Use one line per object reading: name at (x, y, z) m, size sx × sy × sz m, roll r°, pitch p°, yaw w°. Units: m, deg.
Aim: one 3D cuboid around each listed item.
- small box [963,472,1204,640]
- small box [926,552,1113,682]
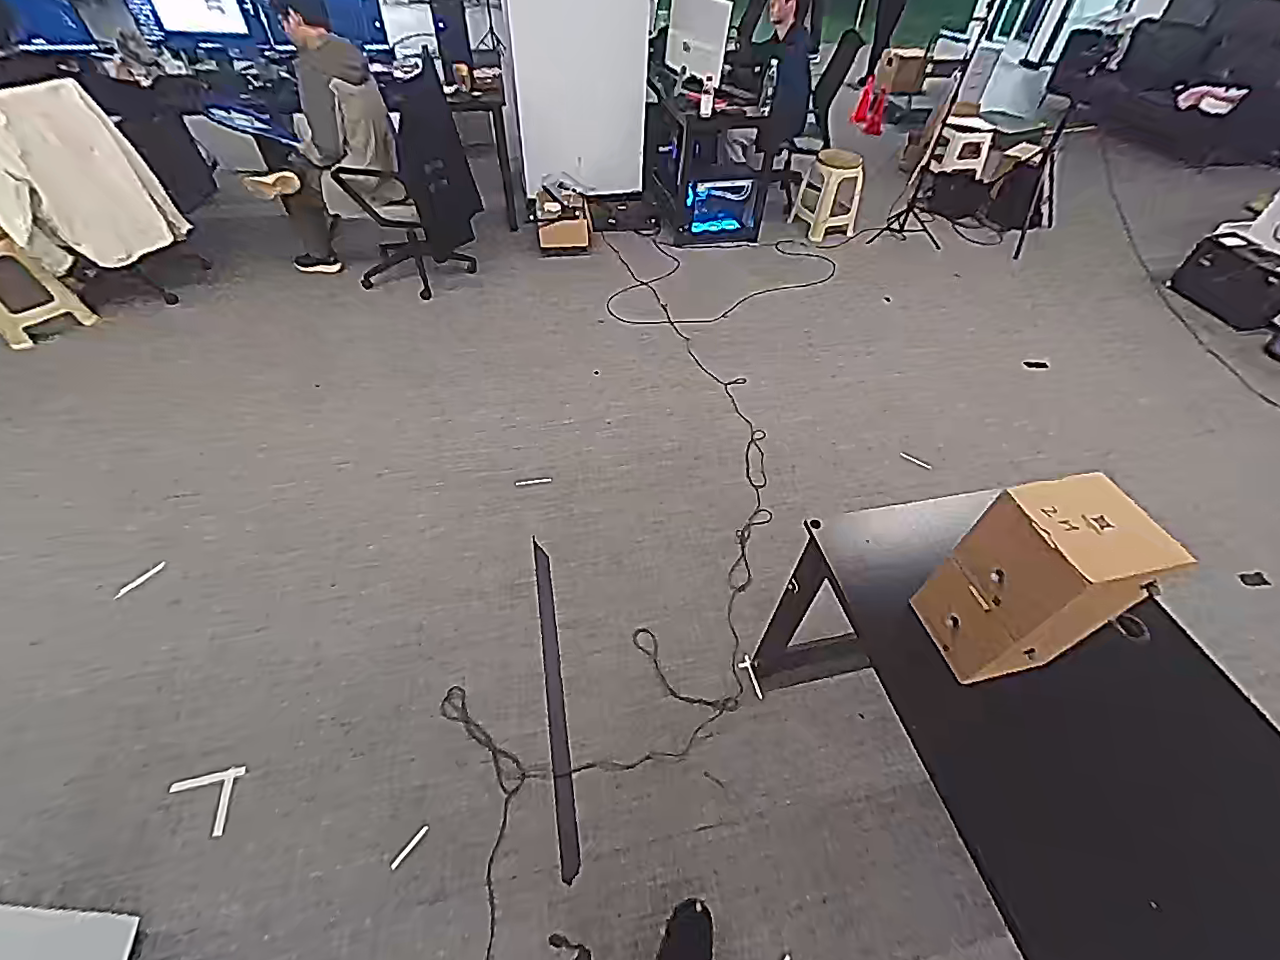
small box at (0.628, 0.113, 0.794) m, size 0.179 × 0.176 × 0.168 m, roll -9°, pitch 49°, yaw -10°
small box at (0.620, 0.223, 0.917) m, size 0.179 × 0.176 × 0.168 m, roll -10°, pitch 50°, yaw -10°
